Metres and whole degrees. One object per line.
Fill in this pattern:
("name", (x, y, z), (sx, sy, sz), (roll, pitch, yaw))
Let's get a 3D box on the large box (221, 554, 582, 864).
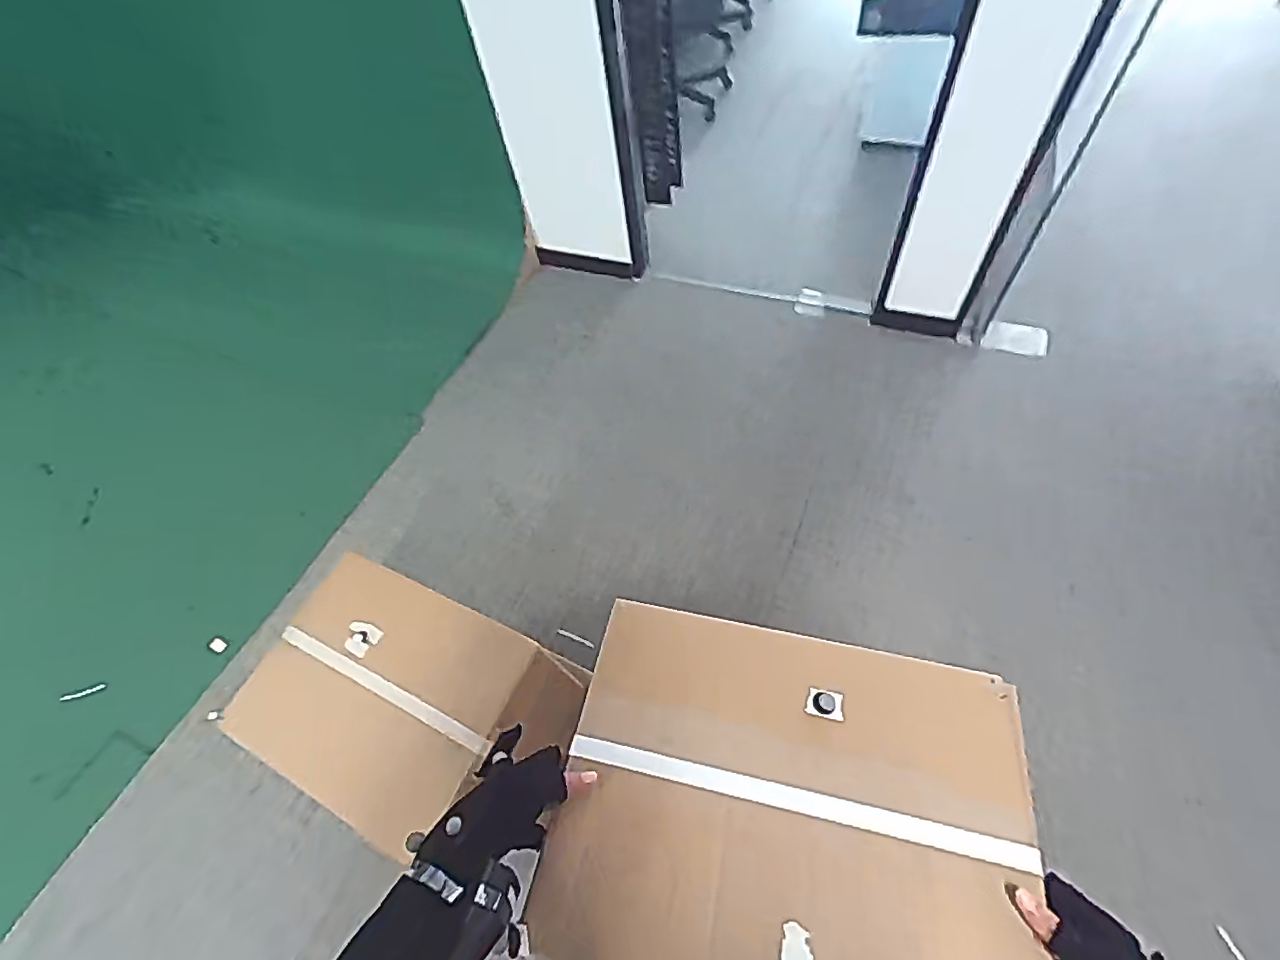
("large box", (-0.372, 0.383, 0.935), (0.408, 0.320, 0.320), (19, 64, 21))
